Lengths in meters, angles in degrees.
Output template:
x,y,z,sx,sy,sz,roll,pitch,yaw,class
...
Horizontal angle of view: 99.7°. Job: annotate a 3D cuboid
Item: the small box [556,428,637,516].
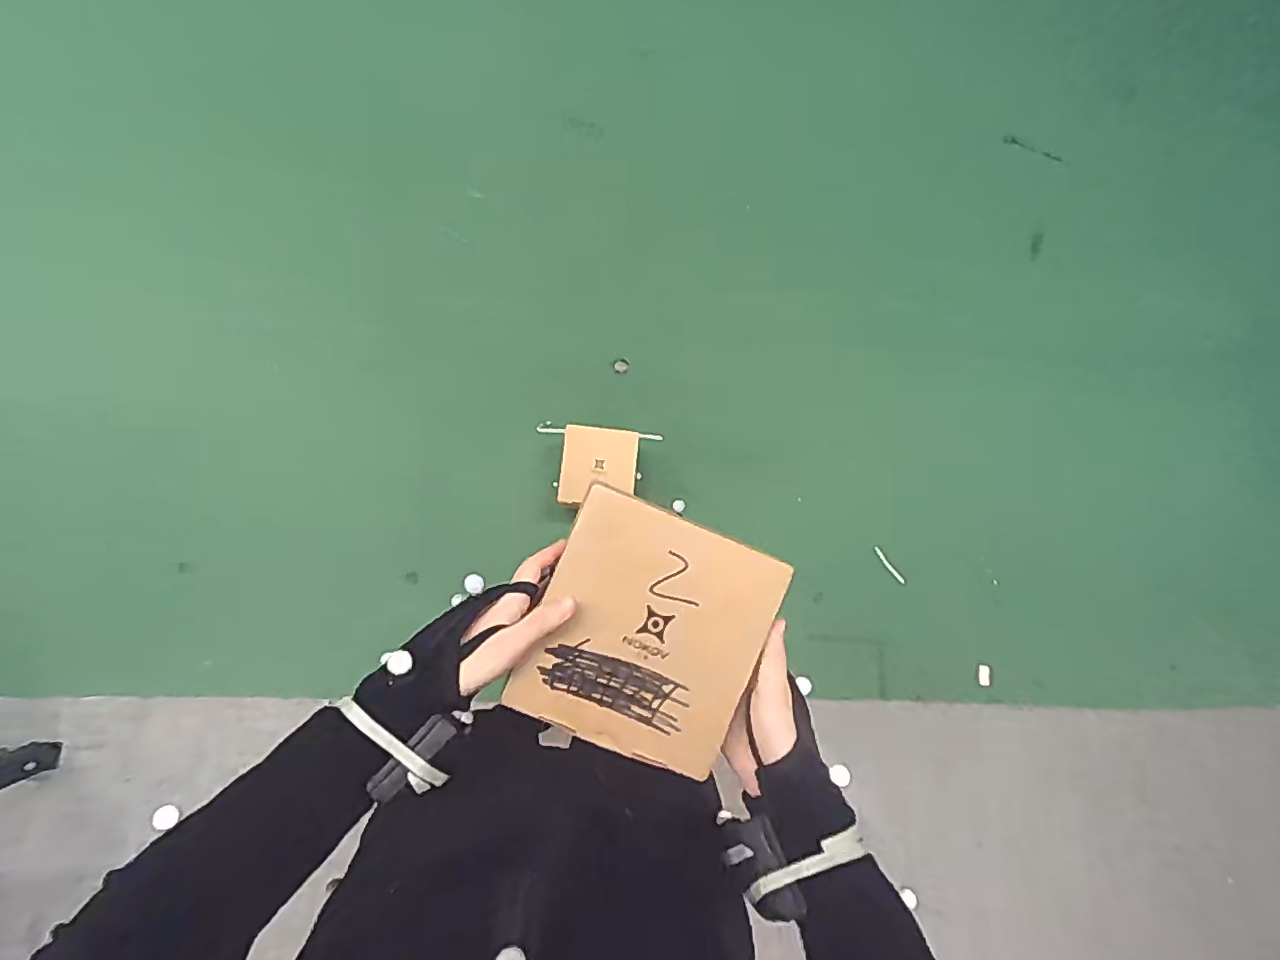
x,y,z,sx,sy,sz,roll,pitch,yaw,class
-0.106,-0.013,1.271,0.168,0.176,0.179,6,84,-6,small box
